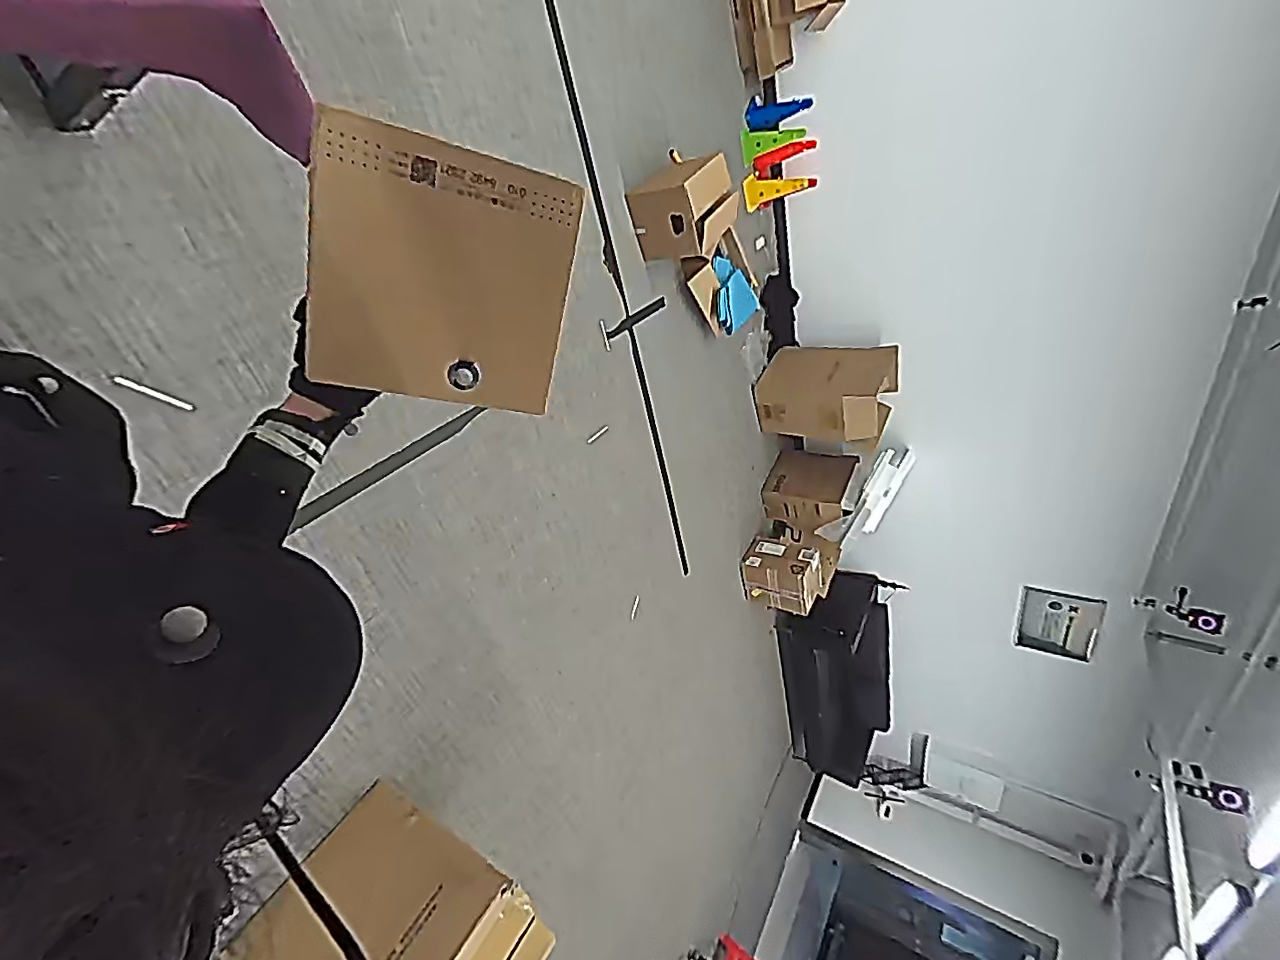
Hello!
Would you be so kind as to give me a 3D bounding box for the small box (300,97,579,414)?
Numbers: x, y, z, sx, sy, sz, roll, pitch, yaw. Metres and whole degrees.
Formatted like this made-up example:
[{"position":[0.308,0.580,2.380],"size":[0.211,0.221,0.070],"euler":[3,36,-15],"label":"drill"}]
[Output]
[{"position":[-0.156,-0.170,0.433],"size":[0.168,0.179,0.176],"euler":[7,112,-23],"label":"small box"}]
